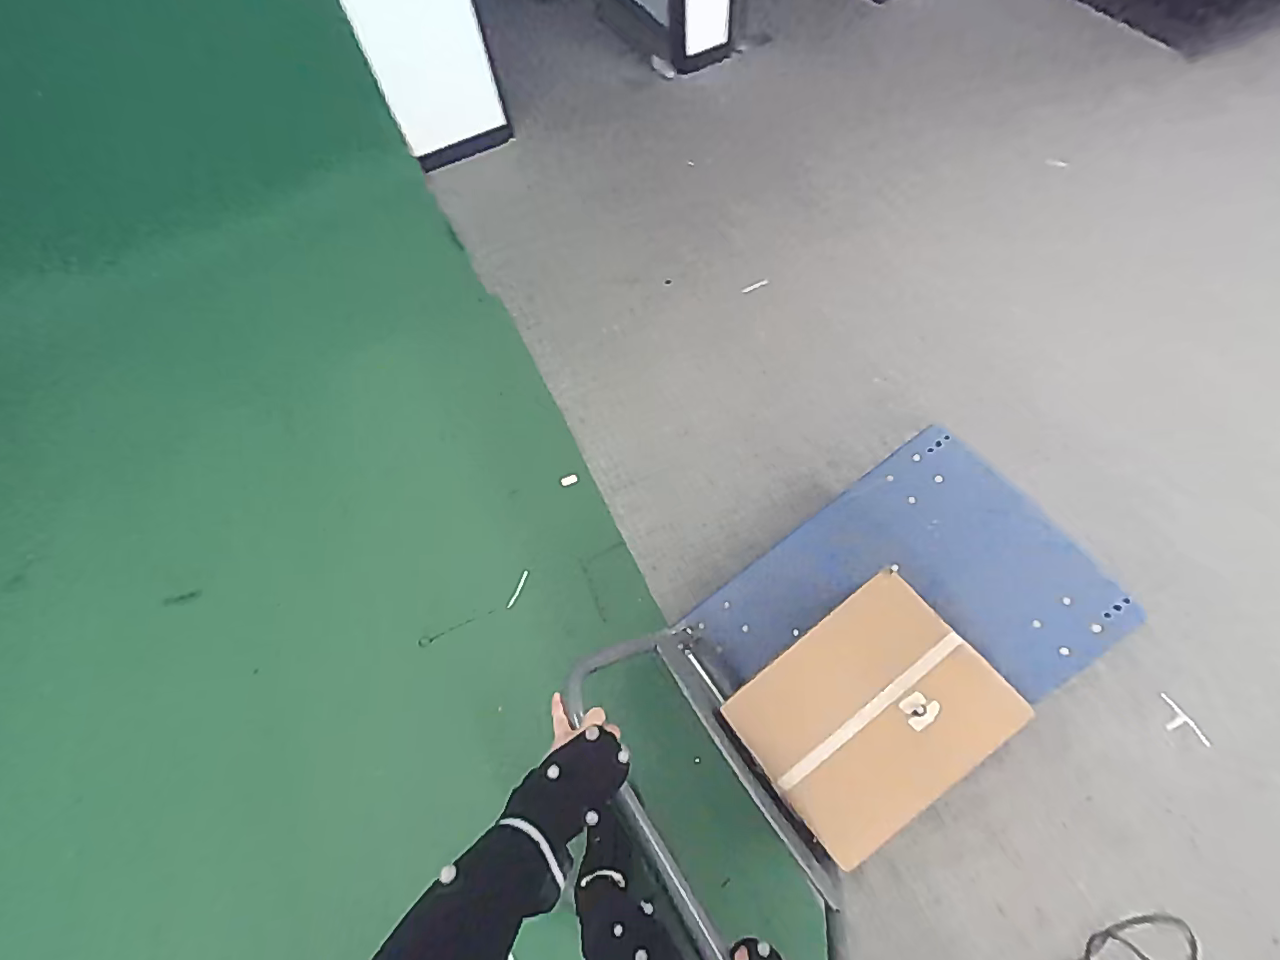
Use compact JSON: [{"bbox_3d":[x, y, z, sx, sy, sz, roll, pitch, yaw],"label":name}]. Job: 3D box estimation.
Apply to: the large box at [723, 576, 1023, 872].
[{"bbox_3d":[0.426,0.456,1.077,0.408,0.320,0.320,-39,68,1],"label":"large box"}]
